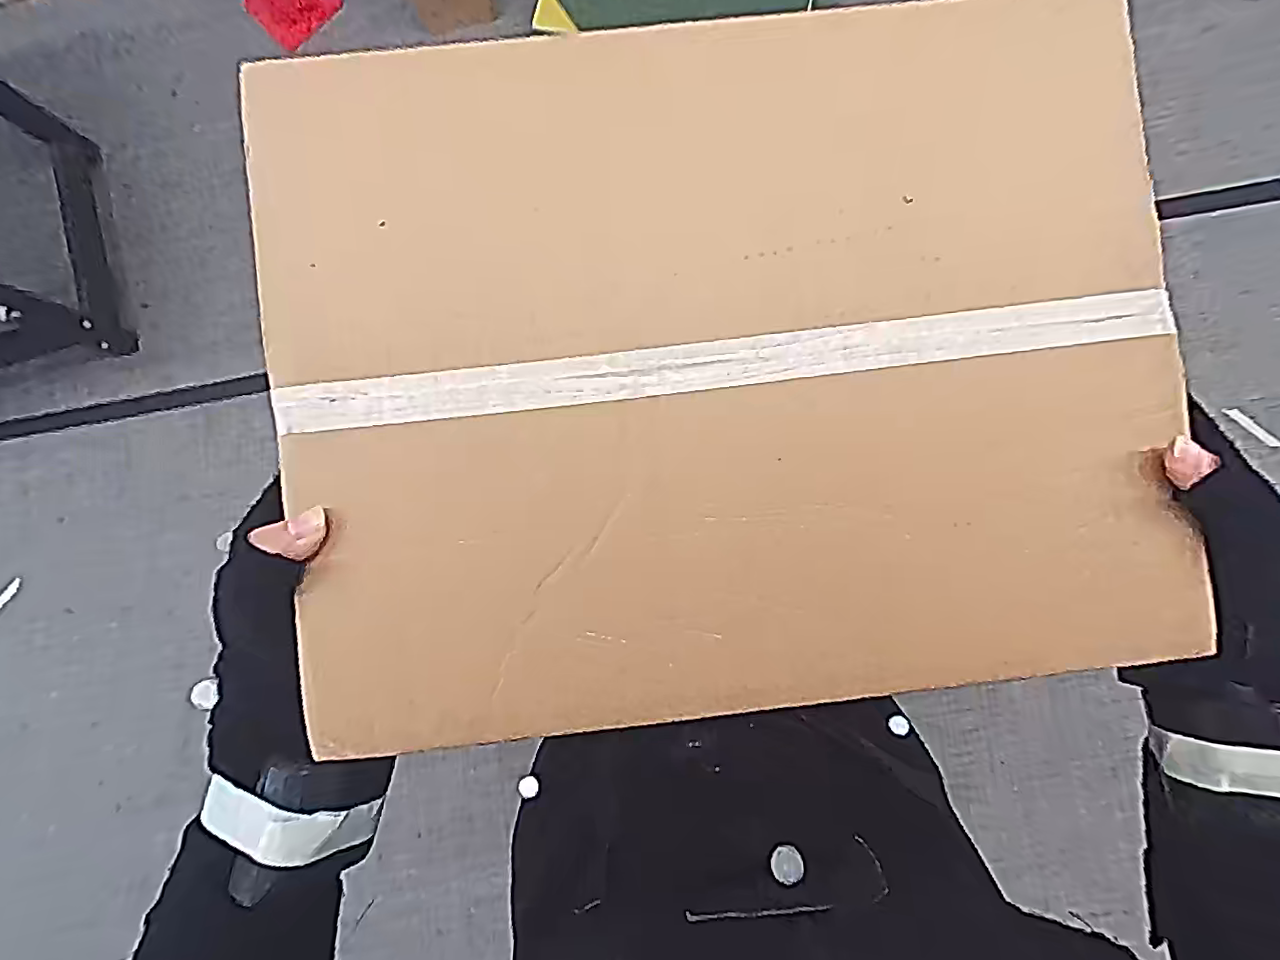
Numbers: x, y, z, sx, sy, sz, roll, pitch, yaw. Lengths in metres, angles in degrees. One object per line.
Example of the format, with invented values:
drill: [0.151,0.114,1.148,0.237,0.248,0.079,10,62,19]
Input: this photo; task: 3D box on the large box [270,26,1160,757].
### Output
large box: [0.036,-0.045,0.407,0.408,0.320,0.320,-7,88,-1]
